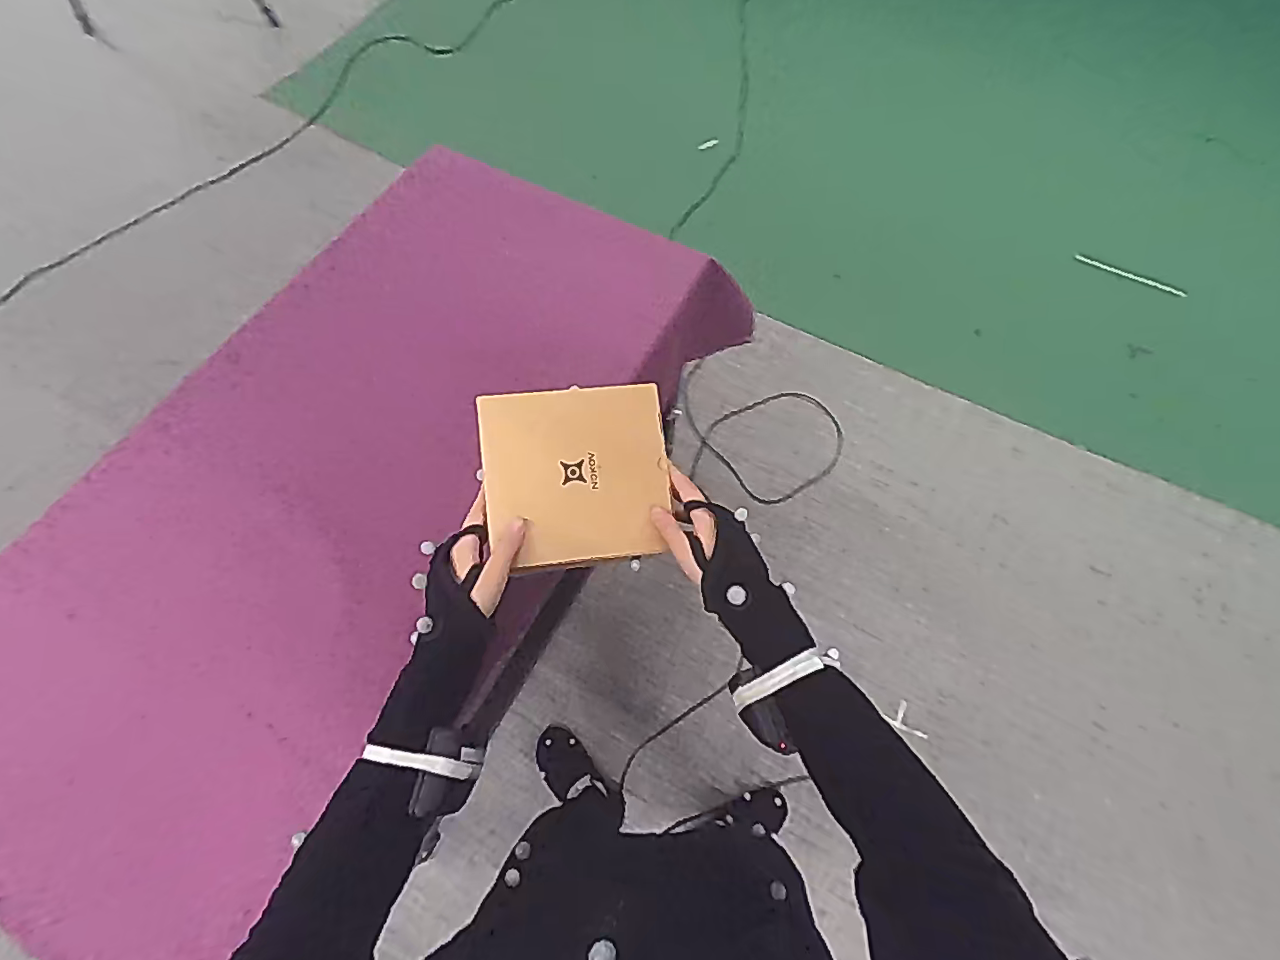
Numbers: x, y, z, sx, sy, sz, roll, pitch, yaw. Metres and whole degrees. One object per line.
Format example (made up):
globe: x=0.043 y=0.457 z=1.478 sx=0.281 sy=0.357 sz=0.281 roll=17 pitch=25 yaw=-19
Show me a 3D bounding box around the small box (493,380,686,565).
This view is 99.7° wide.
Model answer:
small box: x=-0.060 y=0.001 z=0.600 sx=0.179 sy=0.176 sz=0.168 roll=-5 pitch=79 yaw=-10
